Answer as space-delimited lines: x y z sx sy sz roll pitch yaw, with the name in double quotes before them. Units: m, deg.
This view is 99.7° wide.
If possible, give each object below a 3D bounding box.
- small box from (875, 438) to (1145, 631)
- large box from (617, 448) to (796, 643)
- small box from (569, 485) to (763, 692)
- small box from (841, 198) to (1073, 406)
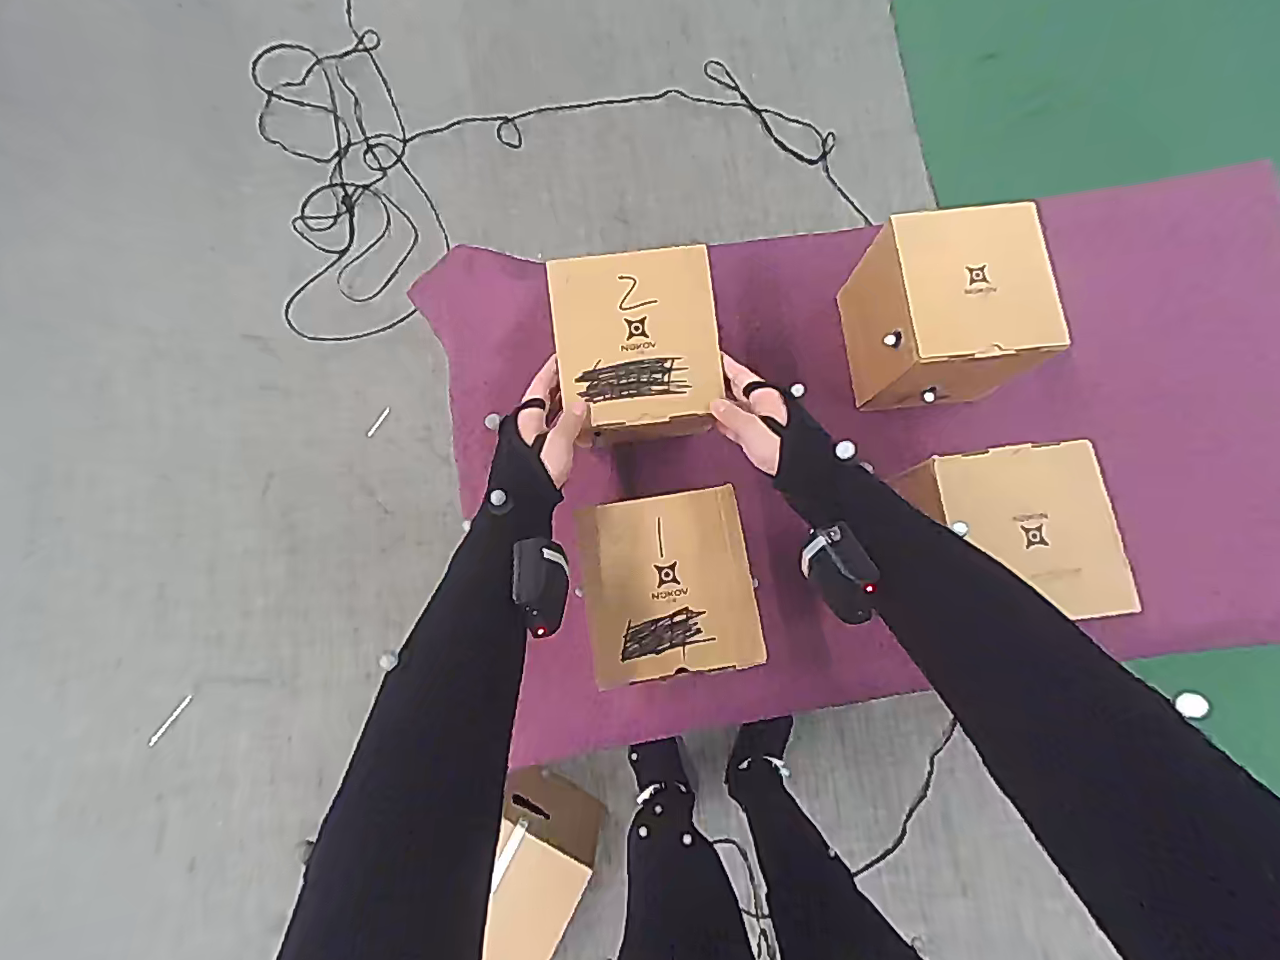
"small box" 0.383 0.066 0.599 0.168 0.176 0.179 -6 79 0
"large box" 0.135 0.176 1.255 0.320 0.320 0.408 -8 78 -1
"small box" 0.024 0.116 0.592 0.168 0.176 0.179 -9 78 -2
"small box" 0.360 -0.203 0.652 0.168 0.176 0.179 -6 81 -1
